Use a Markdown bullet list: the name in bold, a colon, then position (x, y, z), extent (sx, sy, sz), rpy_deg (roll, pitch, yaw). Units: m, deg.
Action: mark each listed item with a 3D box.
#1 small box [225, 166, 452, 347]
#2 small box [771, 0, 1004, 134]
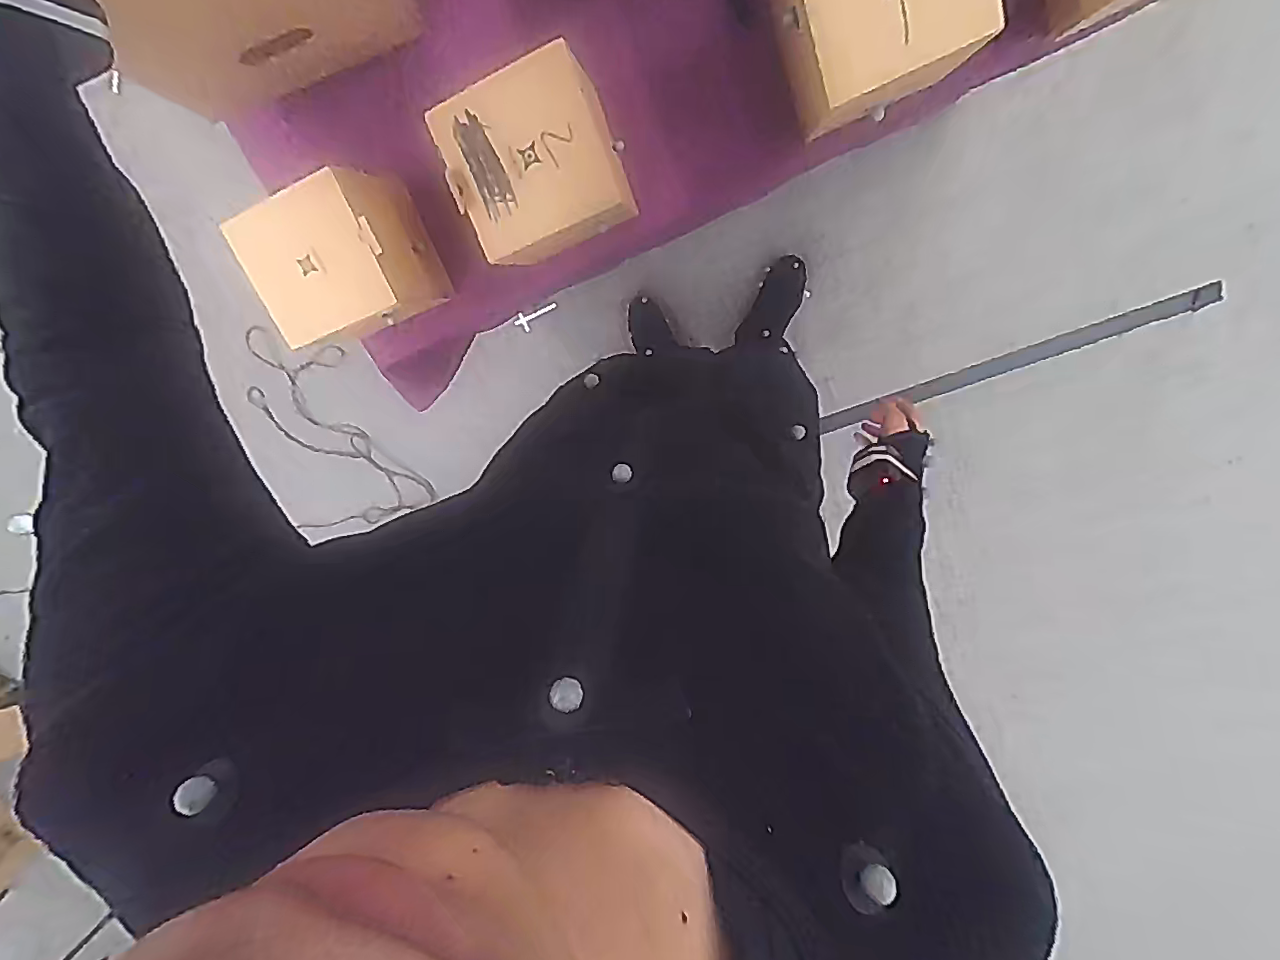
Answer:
- **small box**: position (-0.396, -0.297, 0.743), extent (0.179, 0.176, 0.168), rpy_deg (-18, 108, 13)
- **small box**: position (0.243, -0.505, 0.570), extent (0.168, 0.176, 0.179), rpy_deg (-18, 109, 15)
